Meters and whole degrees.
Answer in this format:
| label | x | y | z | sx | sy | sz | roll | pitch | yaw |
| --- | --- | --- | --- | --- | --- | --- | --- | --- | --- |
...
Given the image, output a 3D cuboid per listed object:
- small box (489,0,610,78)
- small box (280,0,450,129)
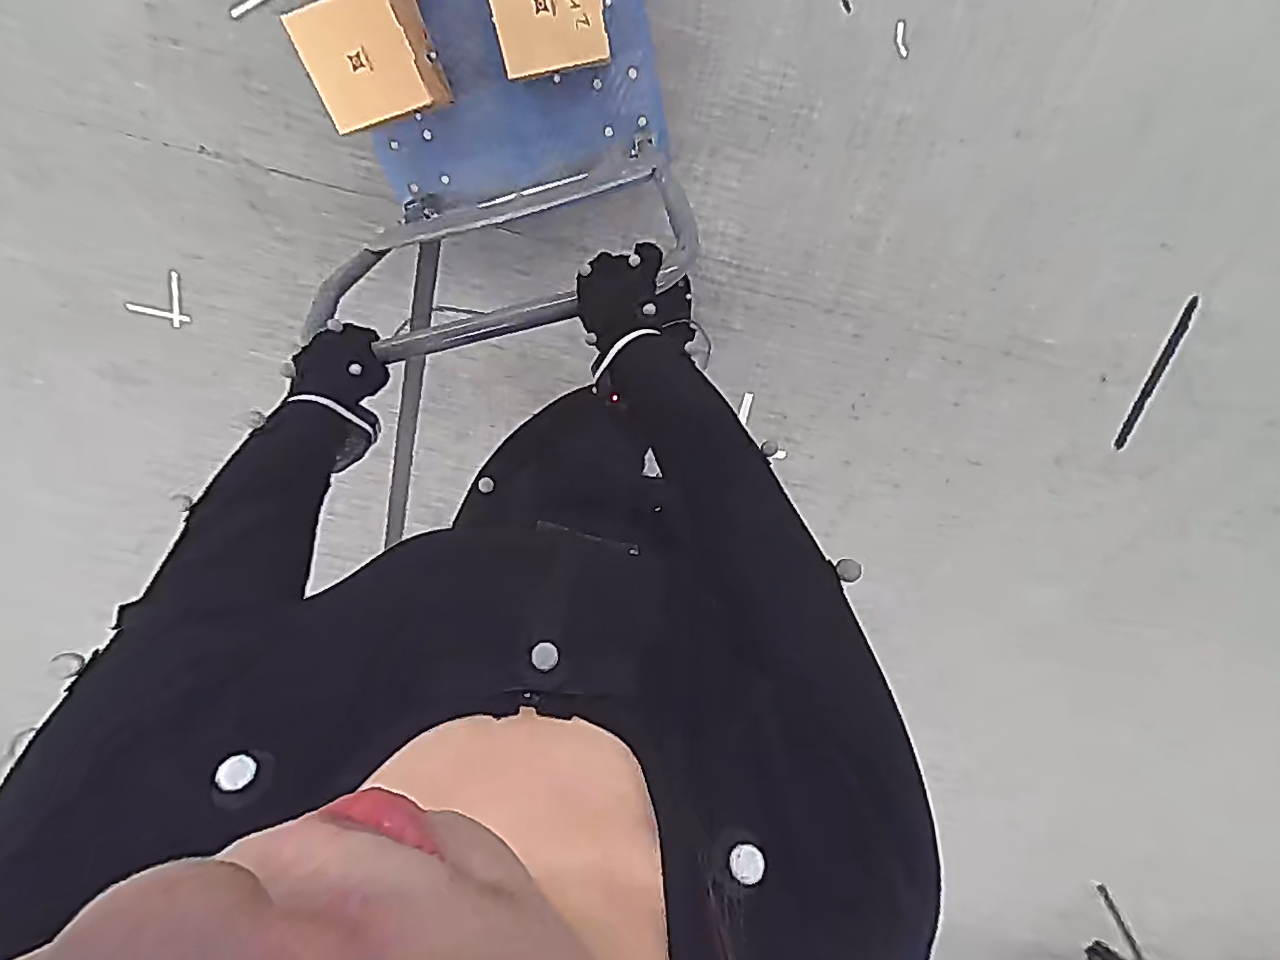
| label | x | y | z | sx | sy | sz | roll | pitch | yaw |
| --- | --- | --- | --- | --- | --- | --- | --- | --- | --- |
| small box | -0.149 | -0.790 | 0.905 | 0.179 | 0.176 | 0.168 | -9 | 125 | 3 |
| small box | -0.458 | -0.725 | 0.934 | 0.179 | 0.176 | 0.168 | -16 | 124 | 6 |
